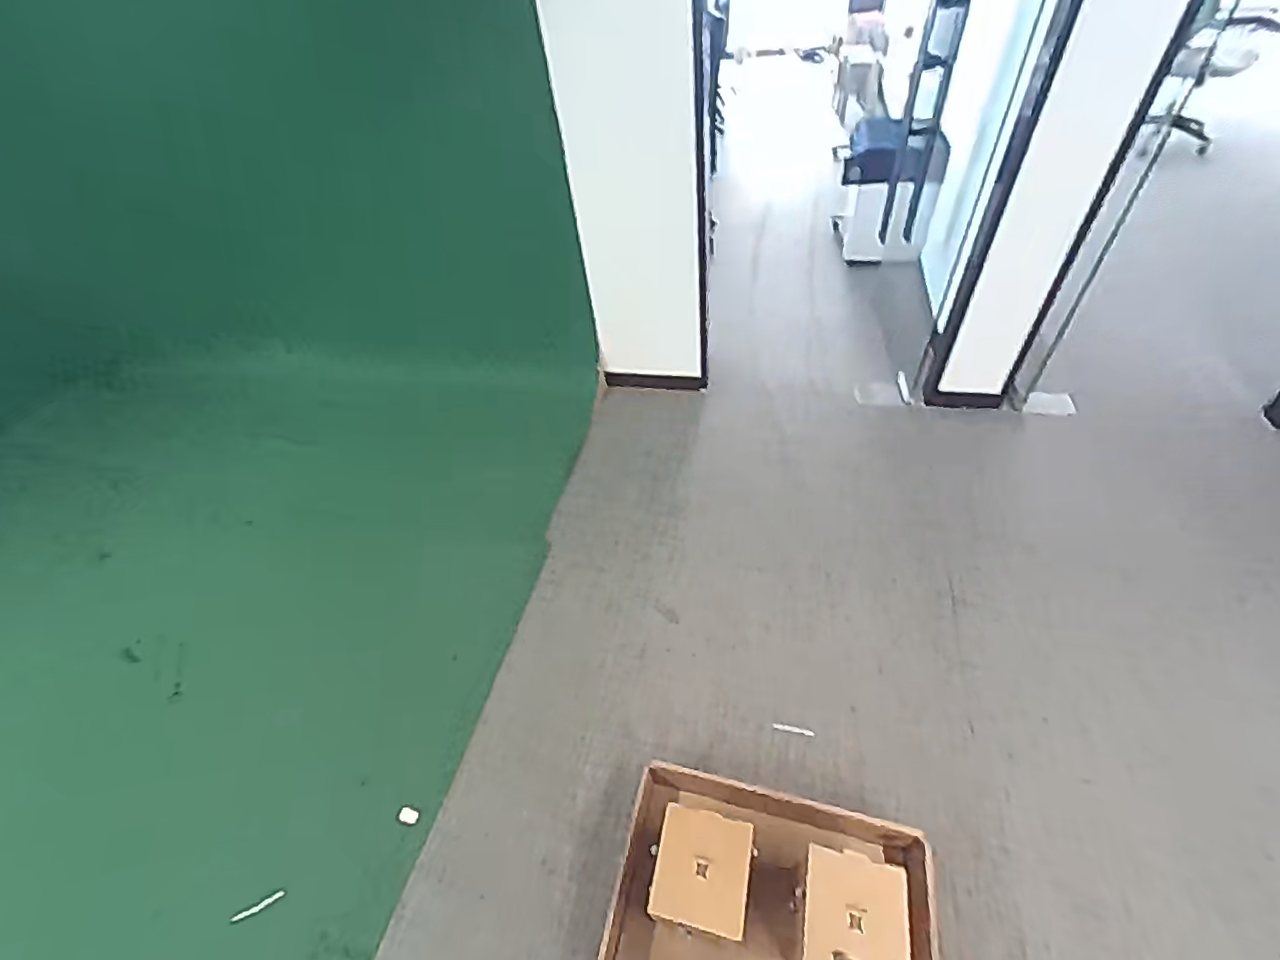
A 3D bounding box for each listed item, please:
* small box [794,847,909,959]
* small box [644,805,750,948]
[{"bbox_3d":[0.367,0.788,0.955,0.168,0.176,0.179,6,48,16],"label":"small box"},{"bbox_3d":[0.113,0.752,1.023,0.168,0.176,0.179,7,48,13],"label":"small box"}]
